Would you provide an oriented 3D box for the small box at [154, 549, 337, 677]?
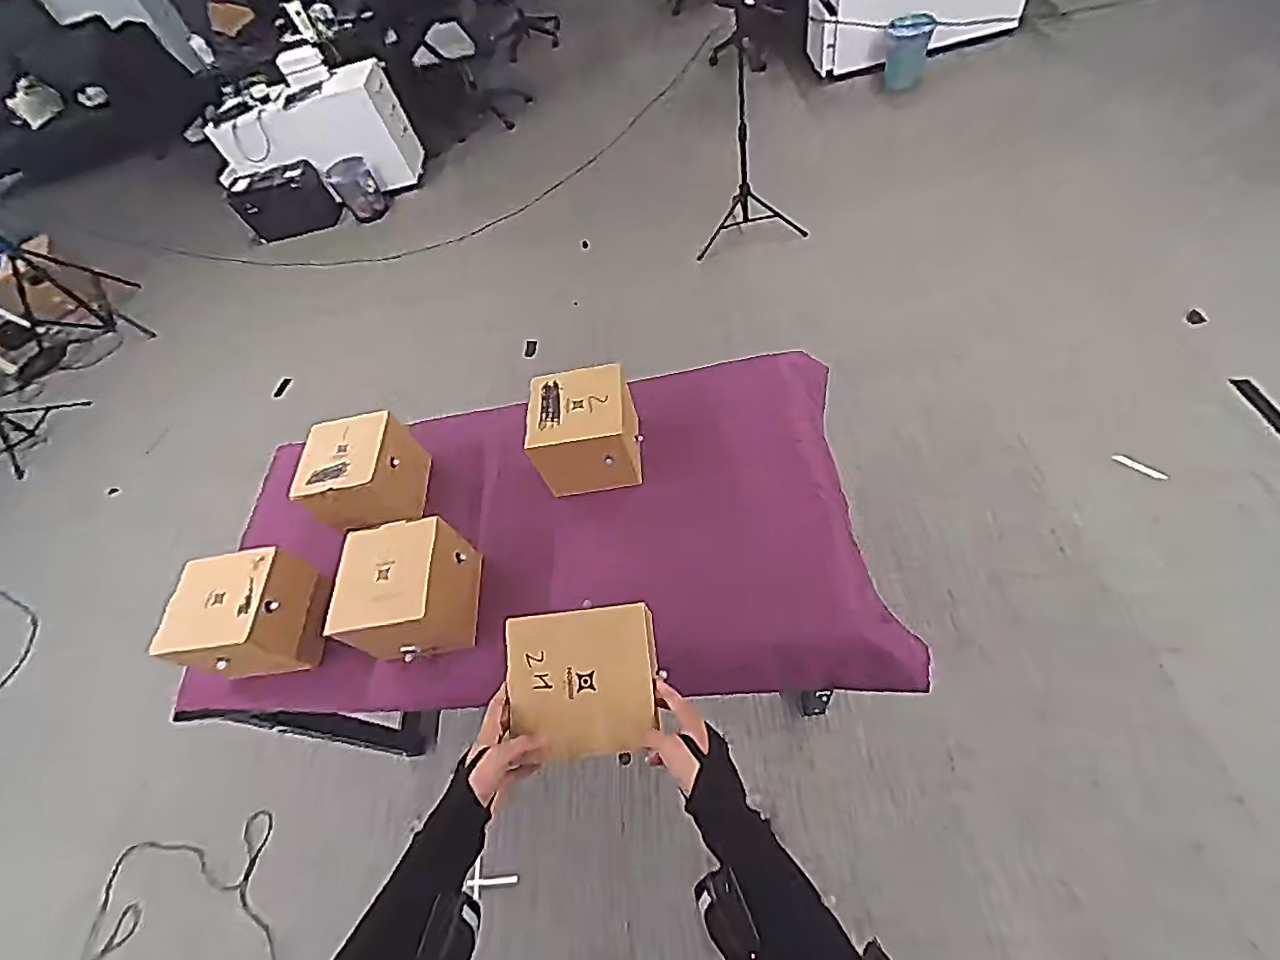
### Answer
[{"bbox_3d":[-0.675,0.240,0.952,0.179,0.176,0.168,-10,57,8],"label":"small box"}]

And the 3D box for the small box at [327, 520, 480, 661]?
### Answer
[{"bbox_3d":[-0.385,0.191,0.917,0.168,0.176,0.179,-11,58,8],"label":"small box"}]

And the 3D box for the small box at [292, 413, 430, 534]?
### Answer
[{"bbox_3d":[-0.543,-0.003,1.081,0.168,0.176,0.179,-10,56,7],"label":"small box"}]

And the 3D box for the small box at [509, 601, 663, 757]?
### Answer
[{"bbox_3d":[-0.063,0.258,0.720,0.179,0.176,0.168,-7,71,3],"label":"small box"}]
